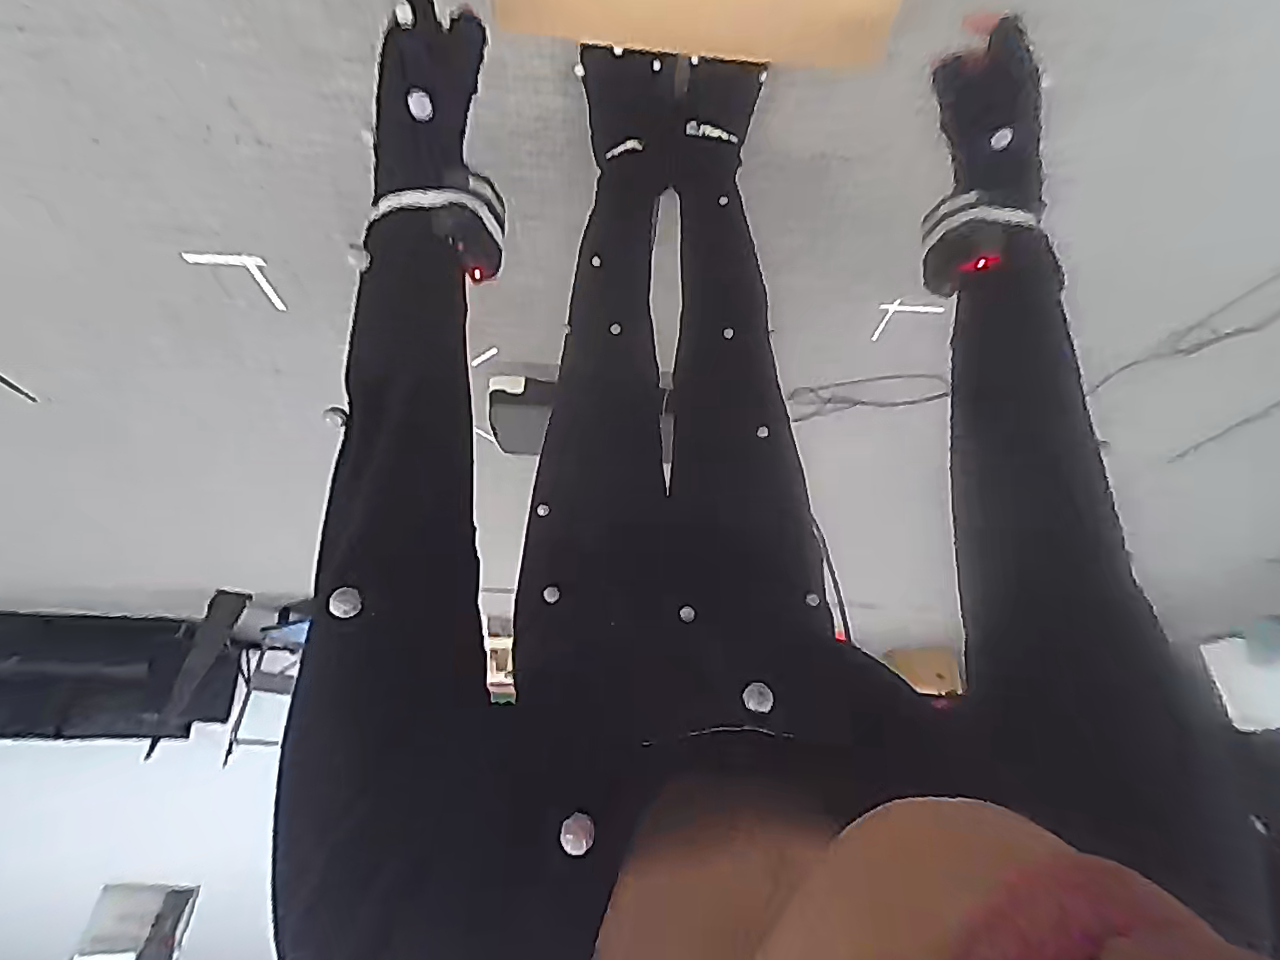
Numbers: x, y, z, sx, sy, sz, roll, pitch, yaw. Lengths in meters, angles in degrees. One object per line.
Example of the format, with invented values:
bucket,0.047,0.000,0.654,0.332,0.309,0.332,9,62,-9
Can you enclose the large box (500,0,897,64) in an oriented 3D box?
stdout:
large box,0.064,-0.659,0.515,0.408,0.320,0.320,2,152,-4
